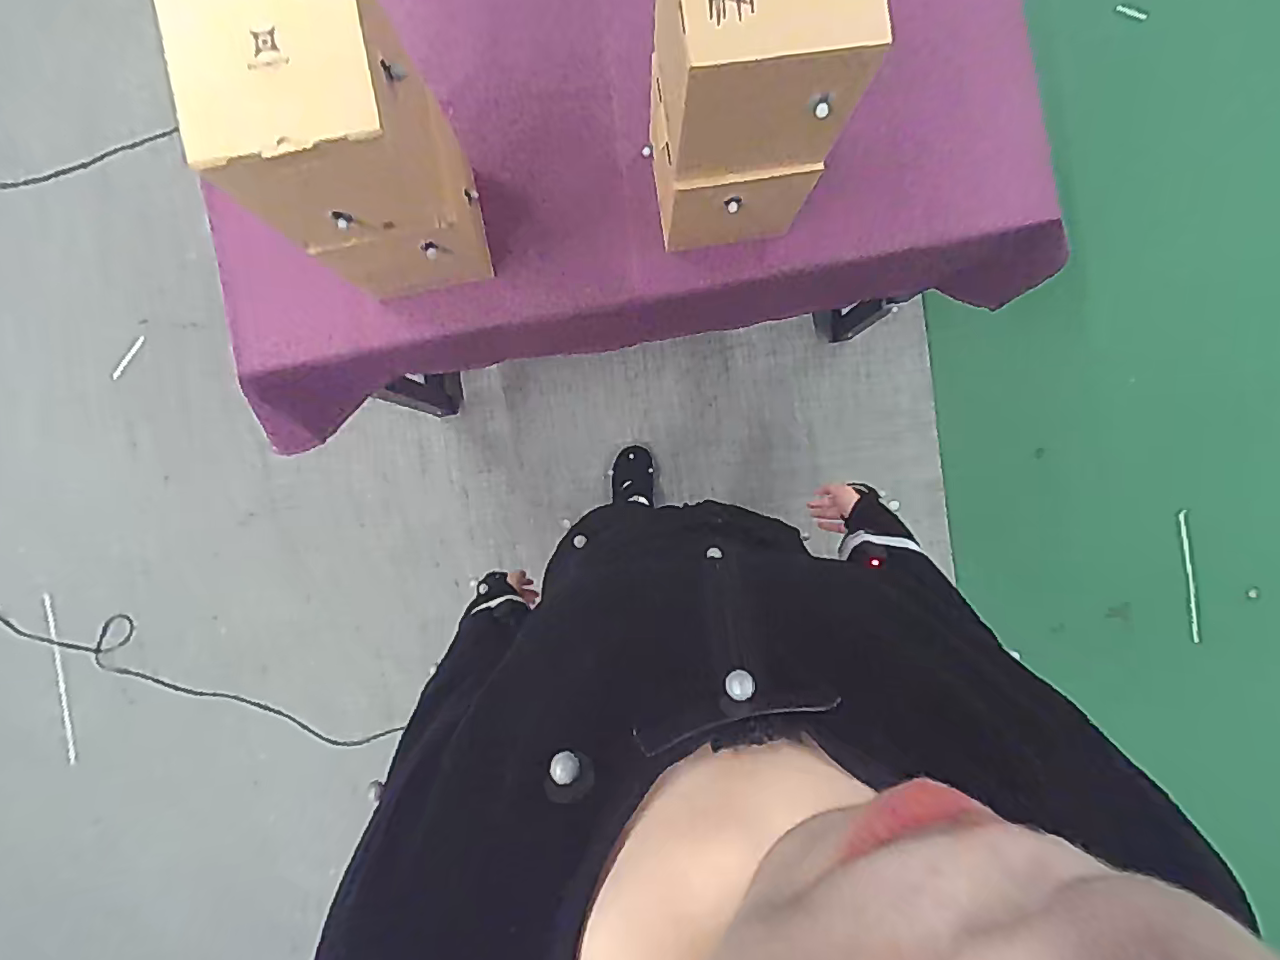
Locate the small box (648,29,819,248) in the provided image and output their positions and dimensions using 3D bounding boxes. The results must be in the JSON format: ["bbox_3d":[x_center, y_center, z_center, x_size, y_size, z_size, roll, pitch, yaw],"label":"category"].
[{"bbox_3d":[0.108,-0.420,0.695,0.179,0.176,0.168,-9,91,0],"label":"small box"}]

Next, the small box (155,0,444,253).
[{"bbox_3d":[-0.313,-0.354,0.532,0.168,0.176,0.179,-12,91,0],"label":"small box"}]

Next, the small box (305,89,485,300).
[{"bbox_3d":[-0.310,-0.350,0.695,0.179,0.176,0.168,-12,90,-1],"label":"small box"}]
